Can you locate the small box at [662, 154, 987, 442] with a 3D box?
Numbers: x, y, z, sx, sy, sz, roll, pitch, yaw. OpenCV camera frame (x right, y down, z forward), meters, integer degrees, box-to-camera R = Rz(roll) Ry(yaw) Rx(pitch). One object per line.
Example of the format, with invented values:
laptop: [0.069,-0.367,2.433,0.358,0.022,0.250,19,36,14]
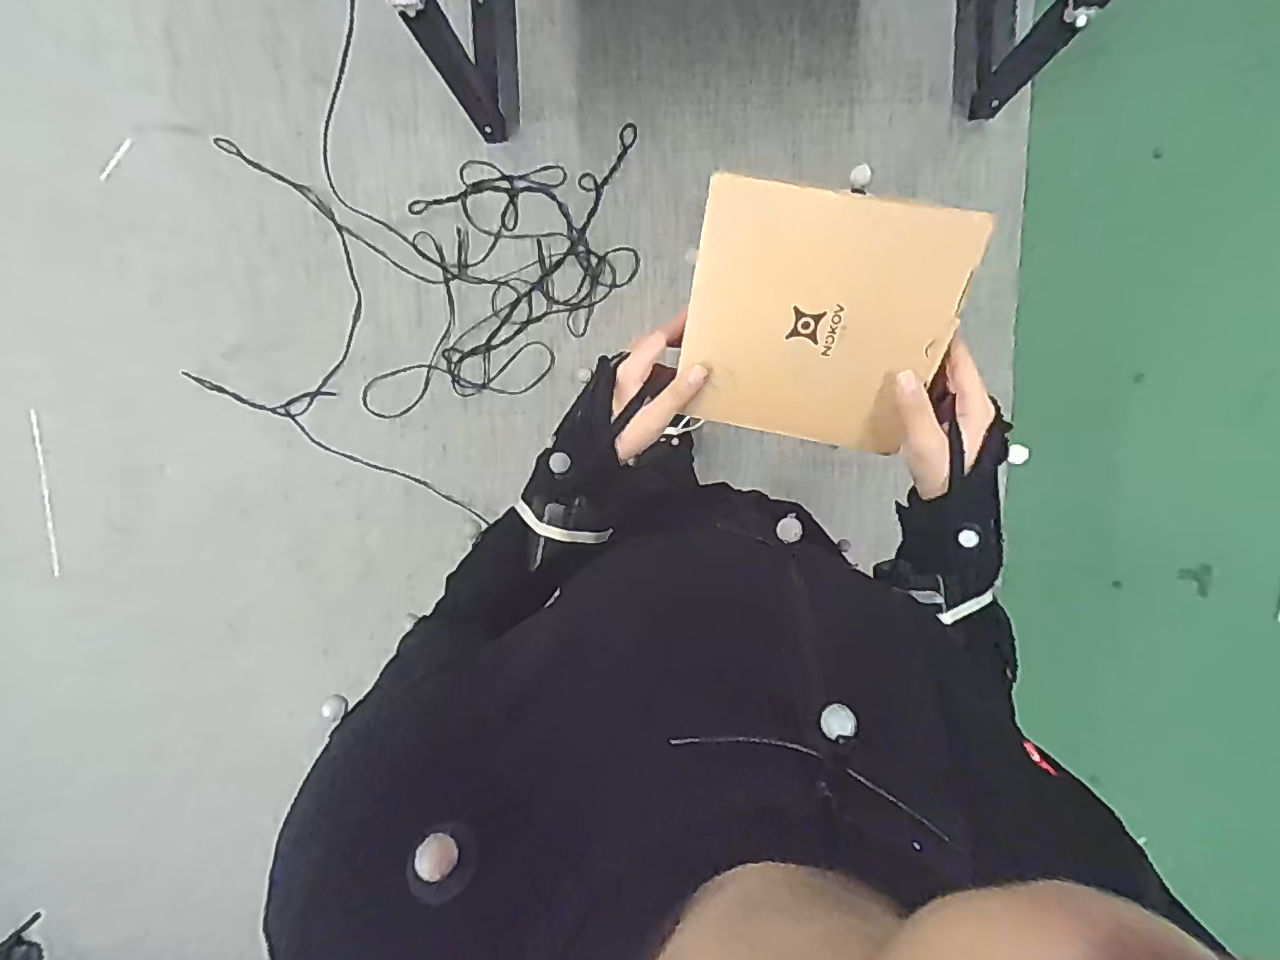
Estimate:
small box: [0.126,-0.152,0.434,0.179,0.176,0.168,11,120,6]
